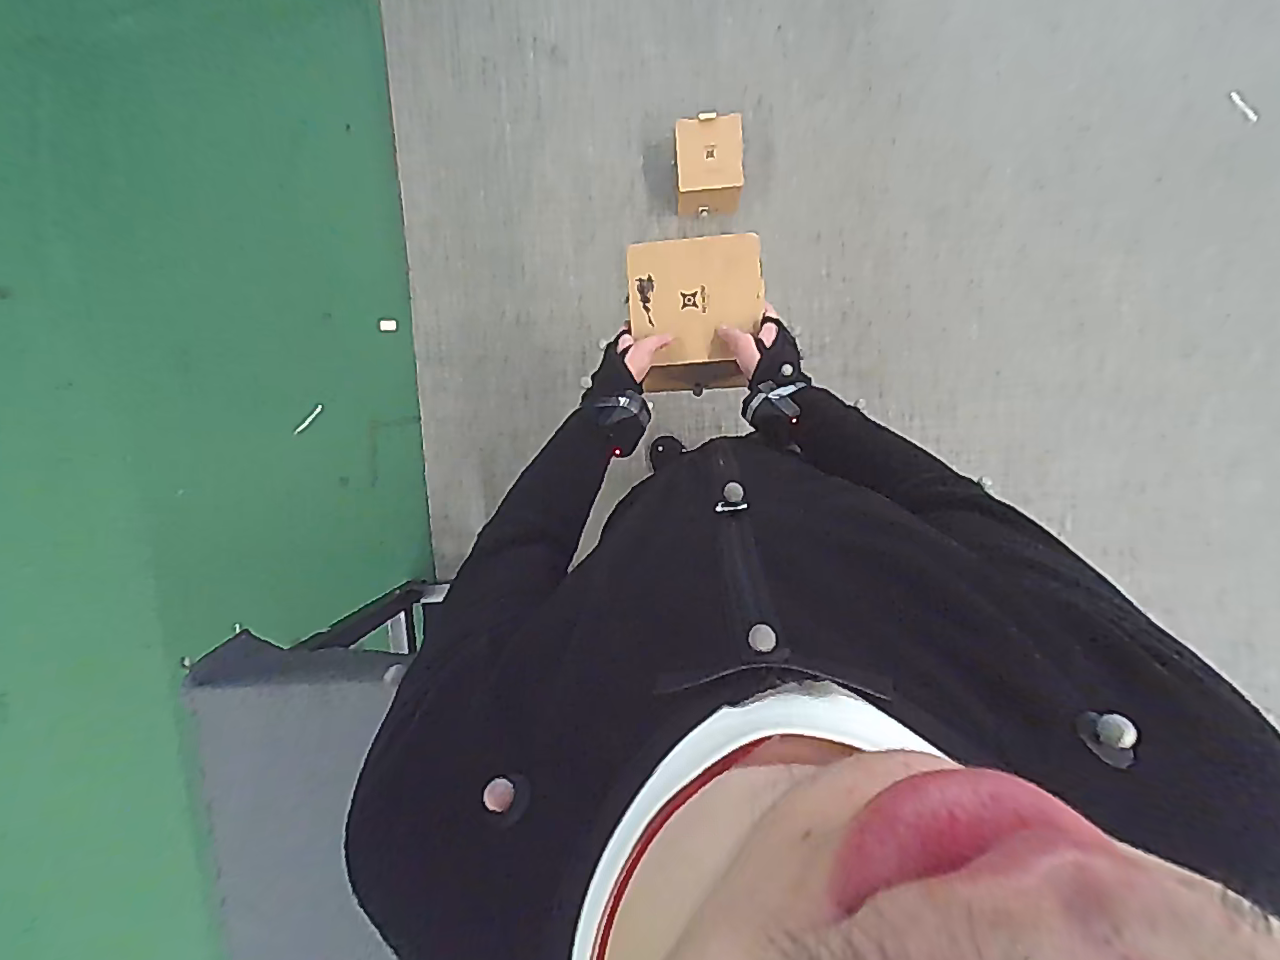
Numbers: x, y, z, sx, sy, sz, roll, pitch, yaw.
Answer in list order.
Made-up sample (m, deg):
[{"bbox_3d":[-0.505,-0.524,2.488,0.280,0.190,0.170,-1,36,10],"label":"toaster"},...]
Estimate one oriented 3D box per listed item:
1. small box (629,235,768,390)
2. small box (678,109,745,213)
[{"bbox_3d":[0.080,-0.229,0.779,0.179,0.176,0.168,-3,87,4],"label":"small box"},{"bbox_3d":[0.181,-0.821,1.404,0.168,0.176,0.179,-1,95,5],"label":"small box"}]
